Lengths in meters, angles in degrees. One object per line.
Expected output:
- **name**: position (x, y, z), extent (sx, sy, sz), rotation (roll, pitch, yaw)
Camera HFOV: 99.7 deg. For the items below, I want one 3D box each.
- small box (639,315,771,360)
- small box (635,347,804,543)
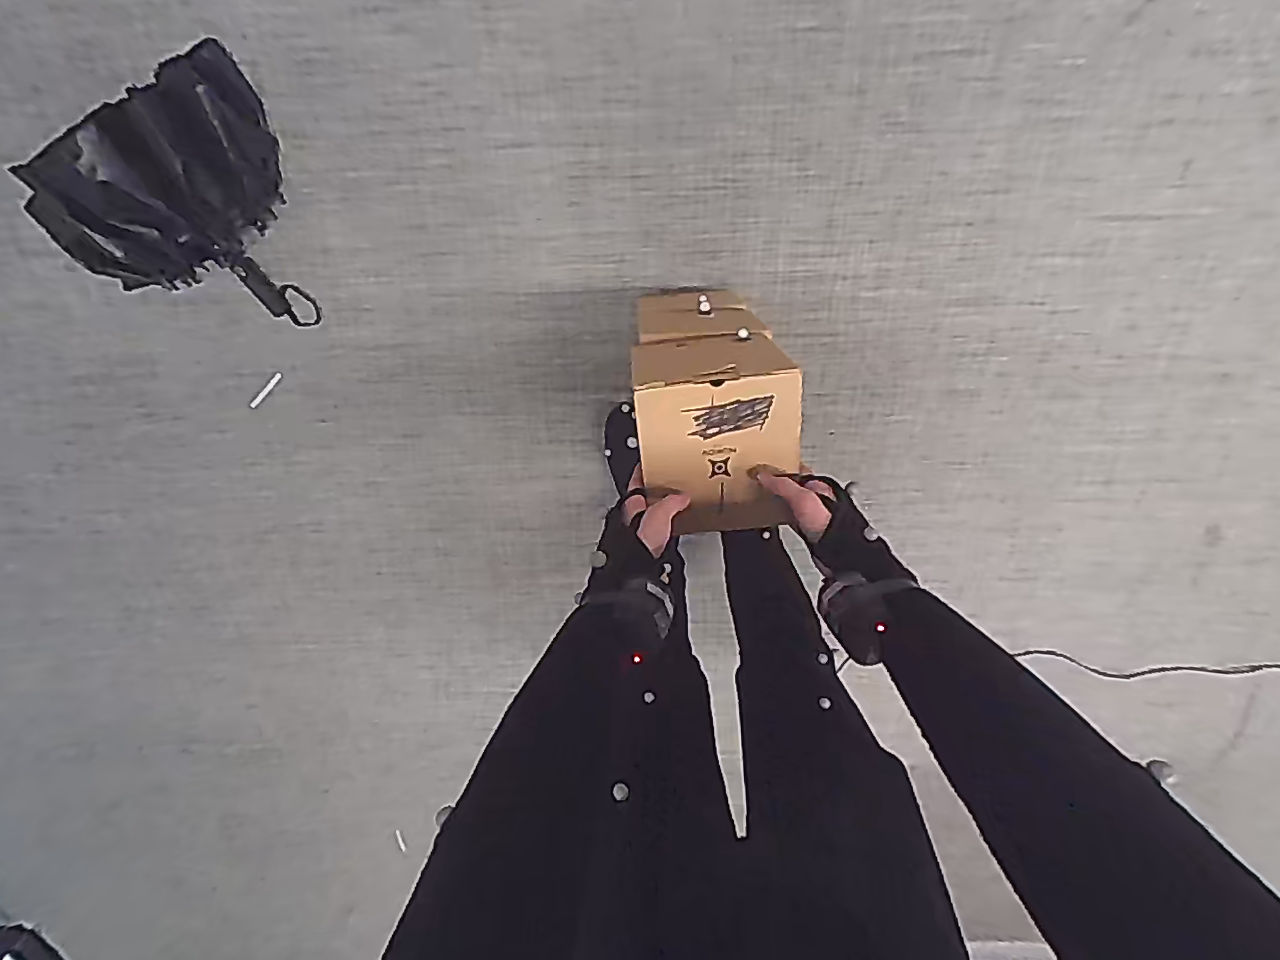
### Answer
- **small box**: position (0.084, -0.133, 0.779), extent (0.168, 0.176, 0.179), rotation (-3, 115, 0)
- **small box**: position (0.084, -0.051, 0.635), extent (0.168, 0.176, 0.179), rotation (-6, 118, 2)
